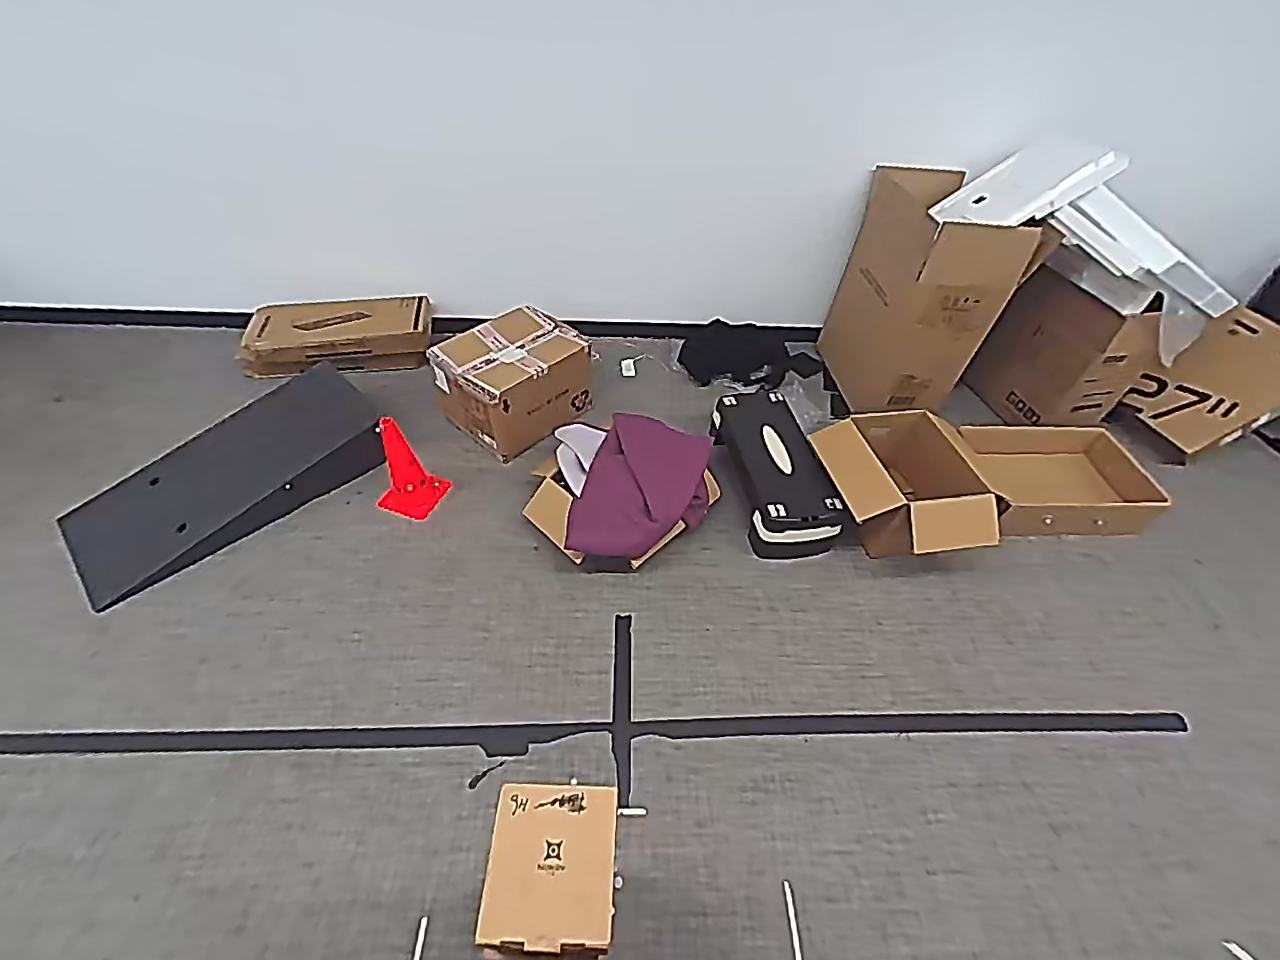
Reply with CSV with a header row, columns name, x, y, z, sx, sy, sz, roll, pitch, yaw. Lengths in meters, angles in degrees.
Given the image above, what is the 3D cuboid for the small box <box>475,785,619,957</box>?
name,x,y,z,sx,sy,sz,roll,pitch,yaw
small box,-0.115,0.548,0.756,0.168,0.176,0.179,3,47,-1
